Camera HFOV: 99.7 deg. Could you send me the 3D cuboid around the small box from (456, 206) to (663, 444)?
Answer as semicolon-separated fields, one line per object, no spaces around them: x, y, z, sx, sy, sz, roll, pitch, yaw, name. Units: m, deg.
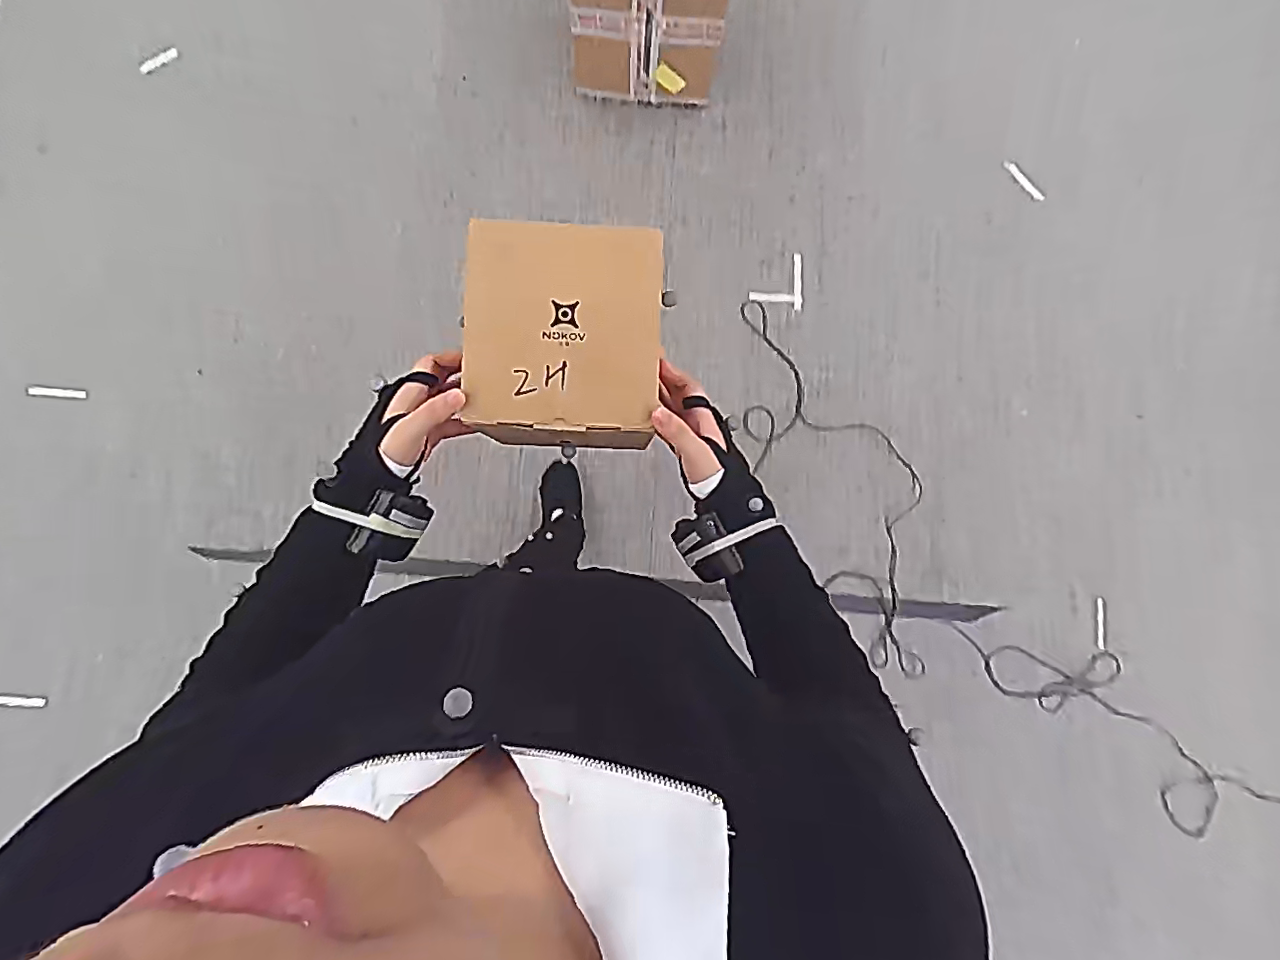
-0.070;-0.135;0.531;0.168;0.176;0.179;2;87;-2;small box
